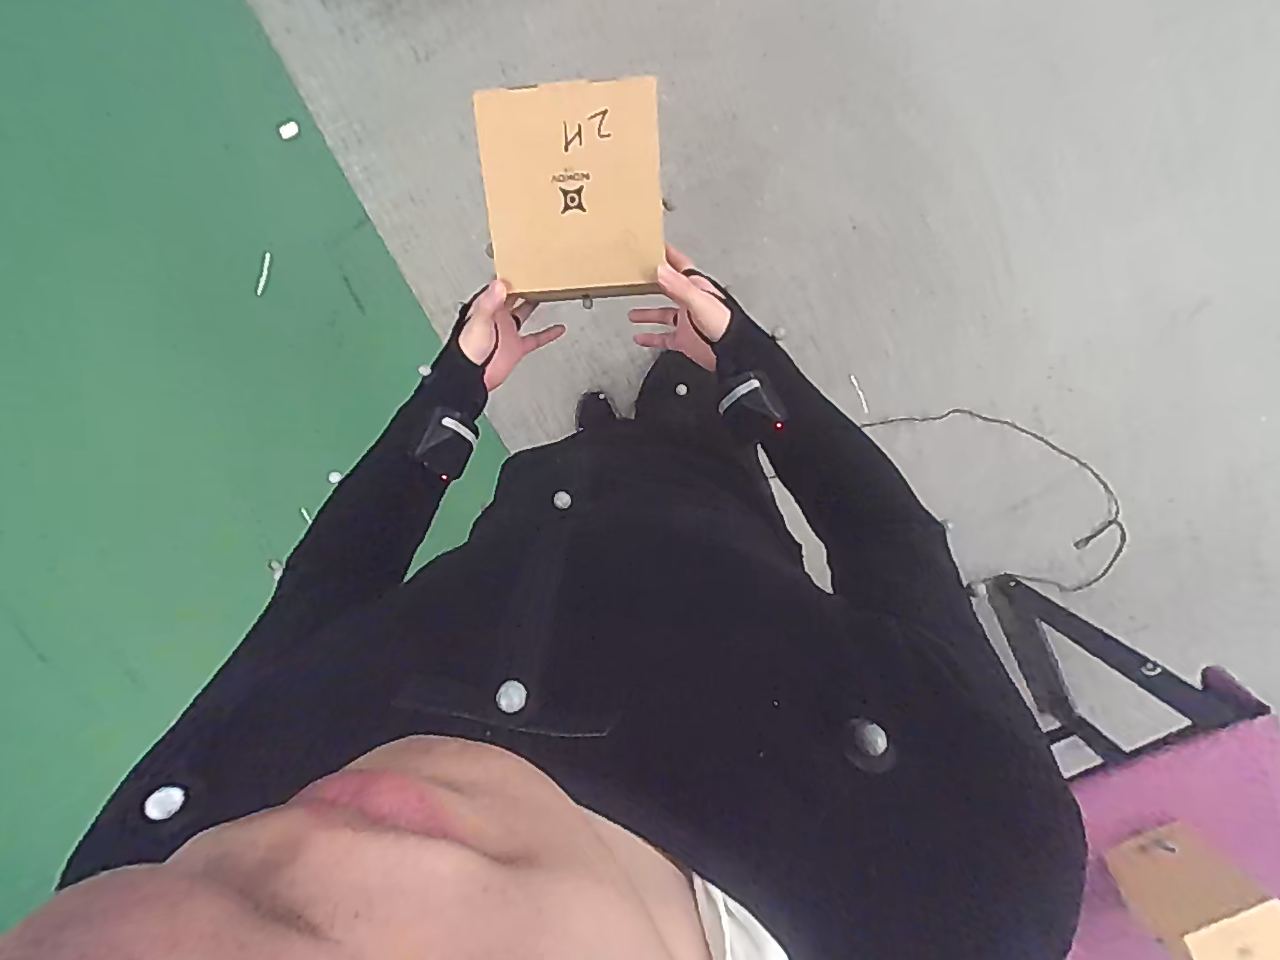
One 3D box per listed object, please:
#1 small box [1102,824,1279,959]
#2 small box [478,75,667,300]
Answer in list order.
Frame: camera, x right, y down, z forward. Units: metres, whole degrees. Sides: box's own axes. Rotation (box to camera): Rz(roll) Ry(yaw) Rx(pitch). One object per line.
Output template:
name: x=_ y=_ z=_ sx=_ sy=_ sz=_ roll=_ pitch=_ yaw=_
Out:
small box: x=1.012 y=0.787 z=0.992 sx=0.168 sy=0.176 sz=0.179 roll=-29 pitch=102 yaw=5
small box: x=-0.055 y=-0.284 z=0.568 sx=0.168 sy=0.176 sz=0.179 roll=-3 pitch=105 yaw=1
